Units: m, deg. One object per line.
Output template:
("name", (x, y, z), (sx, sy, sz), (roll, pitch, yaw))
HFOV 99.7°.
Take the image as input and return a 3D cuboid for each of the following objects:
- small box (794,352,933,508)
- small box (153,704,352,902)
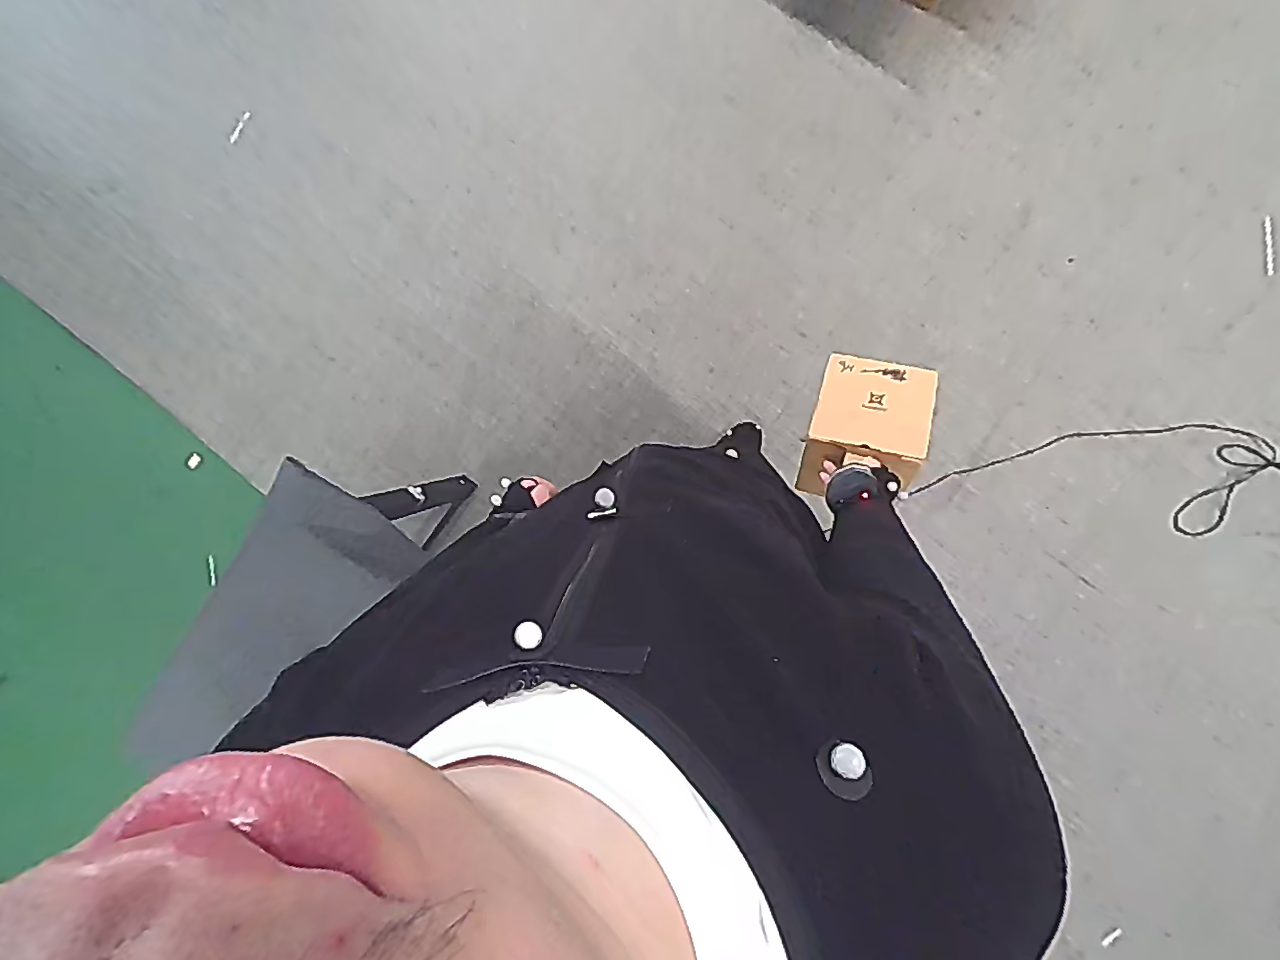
("small box", (0.358, -0.077, 0.890), (0.168, 0.176, 0.179), (16, 63, 16))
("small box", (-0.603, 0.499, 0.866), (0.168, 0.176, 0.179), (31, 99, 4))
